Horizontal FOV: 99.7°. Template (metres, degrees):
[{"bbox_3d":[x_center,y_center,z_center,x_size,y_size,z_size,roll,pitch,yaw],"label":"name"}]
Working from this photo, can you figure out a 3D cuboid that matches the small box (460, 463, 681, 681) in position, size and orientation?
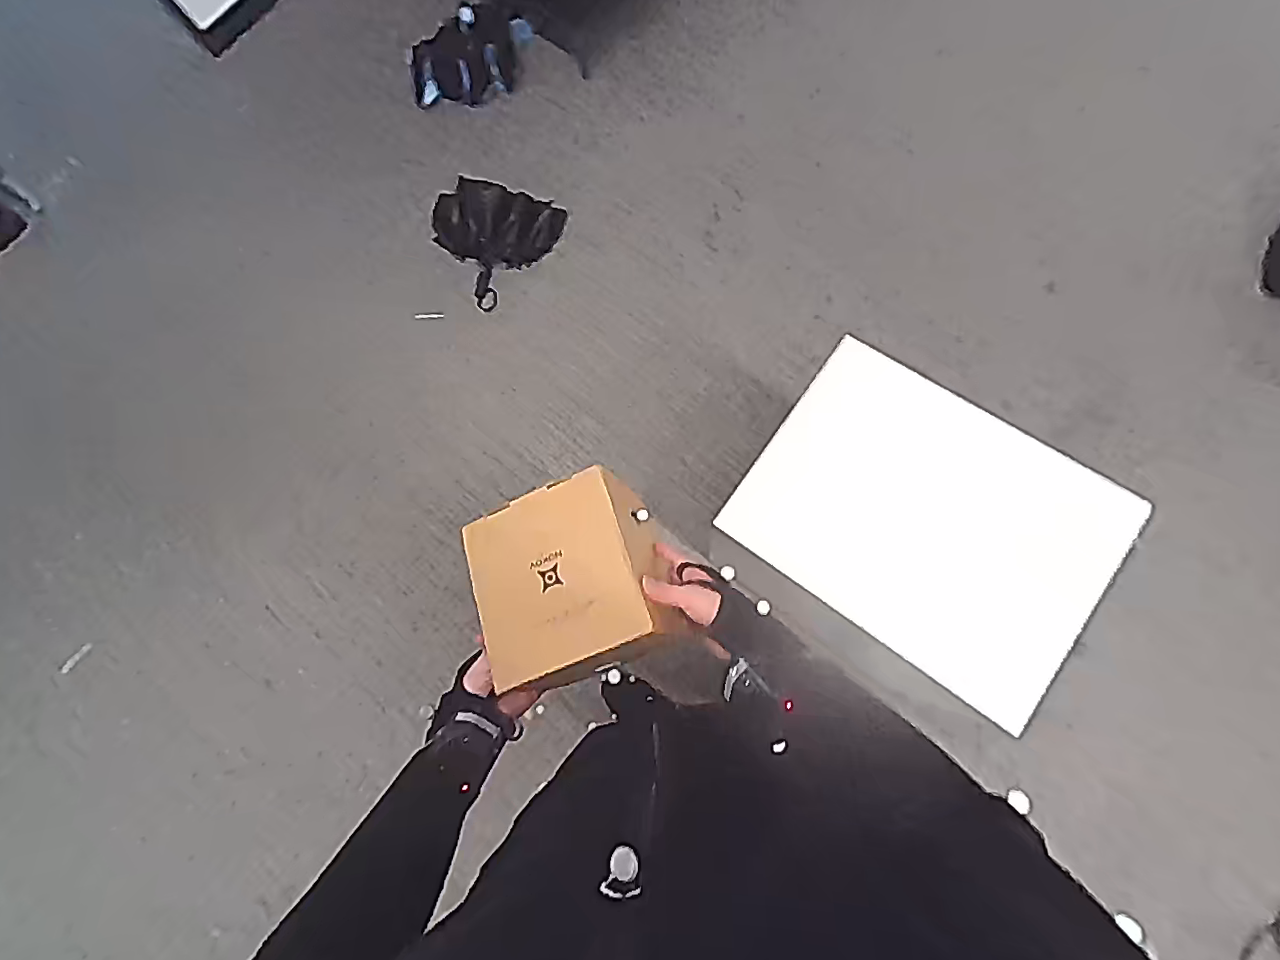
[{"bbox_3d":[-0.070,0.110,0.601,0.168,0.176,0.179,-24,67,10],"label":"small box"}]
